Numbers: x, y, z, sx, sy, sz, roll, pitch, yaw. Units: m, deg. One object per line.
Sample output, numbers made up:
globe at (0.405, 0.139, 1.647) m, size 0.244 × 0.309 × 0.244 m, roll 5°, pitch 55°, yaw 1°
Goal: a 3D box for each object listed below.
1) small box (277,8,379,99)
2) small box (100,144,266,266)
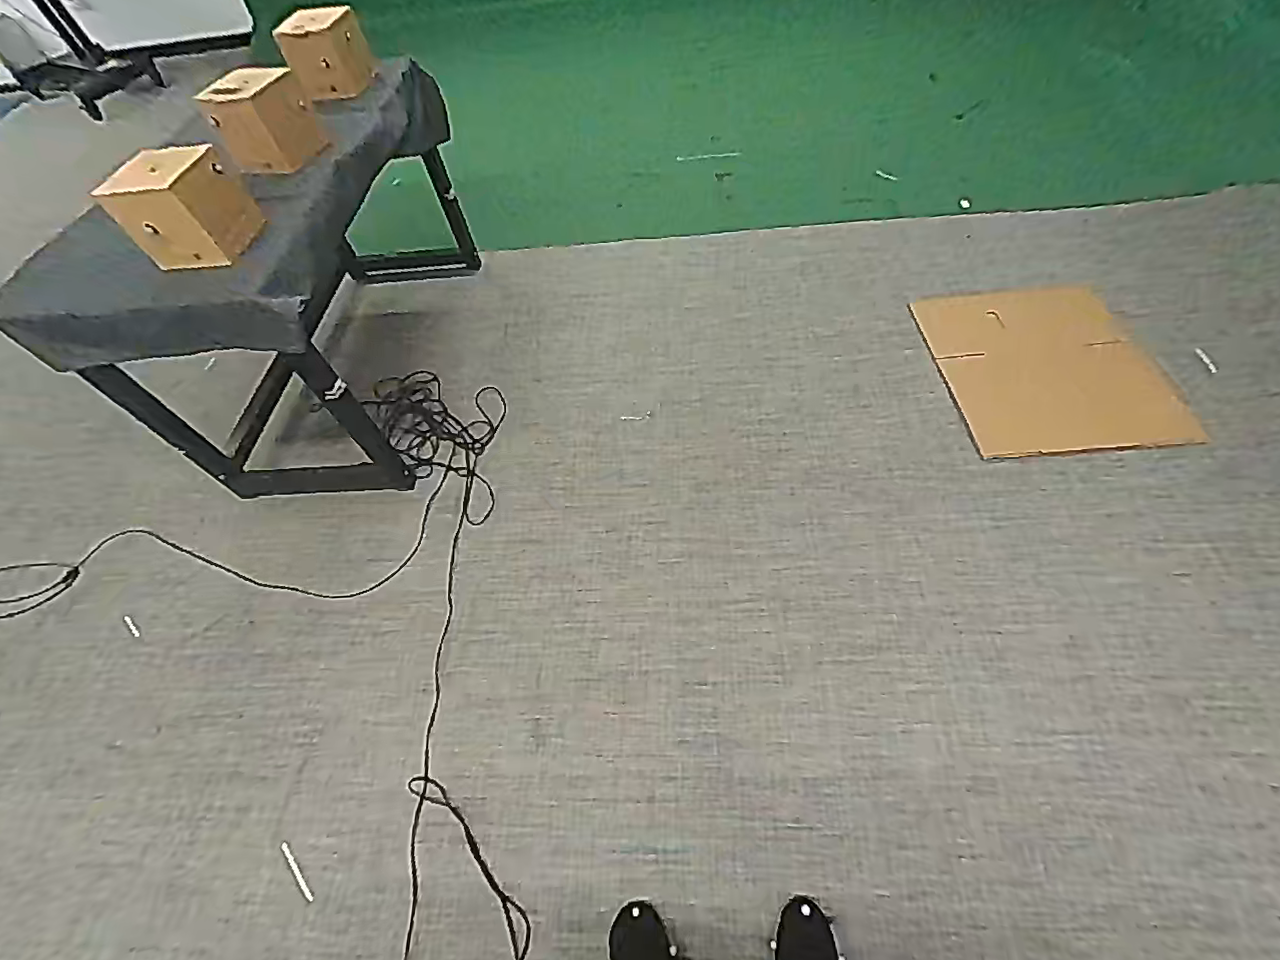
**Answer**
small box at (-0.903, -1.246, 1.586) m, size 0.168 × 0.176 × 0.179 m, roll 3°, pitch 56°, yaw 7°
small box at (-0.937, -0.567, 1.131) m, size 0.168 × 0.176 × 0.179 m, roll -1°, pitch 55°, yaw 7°
